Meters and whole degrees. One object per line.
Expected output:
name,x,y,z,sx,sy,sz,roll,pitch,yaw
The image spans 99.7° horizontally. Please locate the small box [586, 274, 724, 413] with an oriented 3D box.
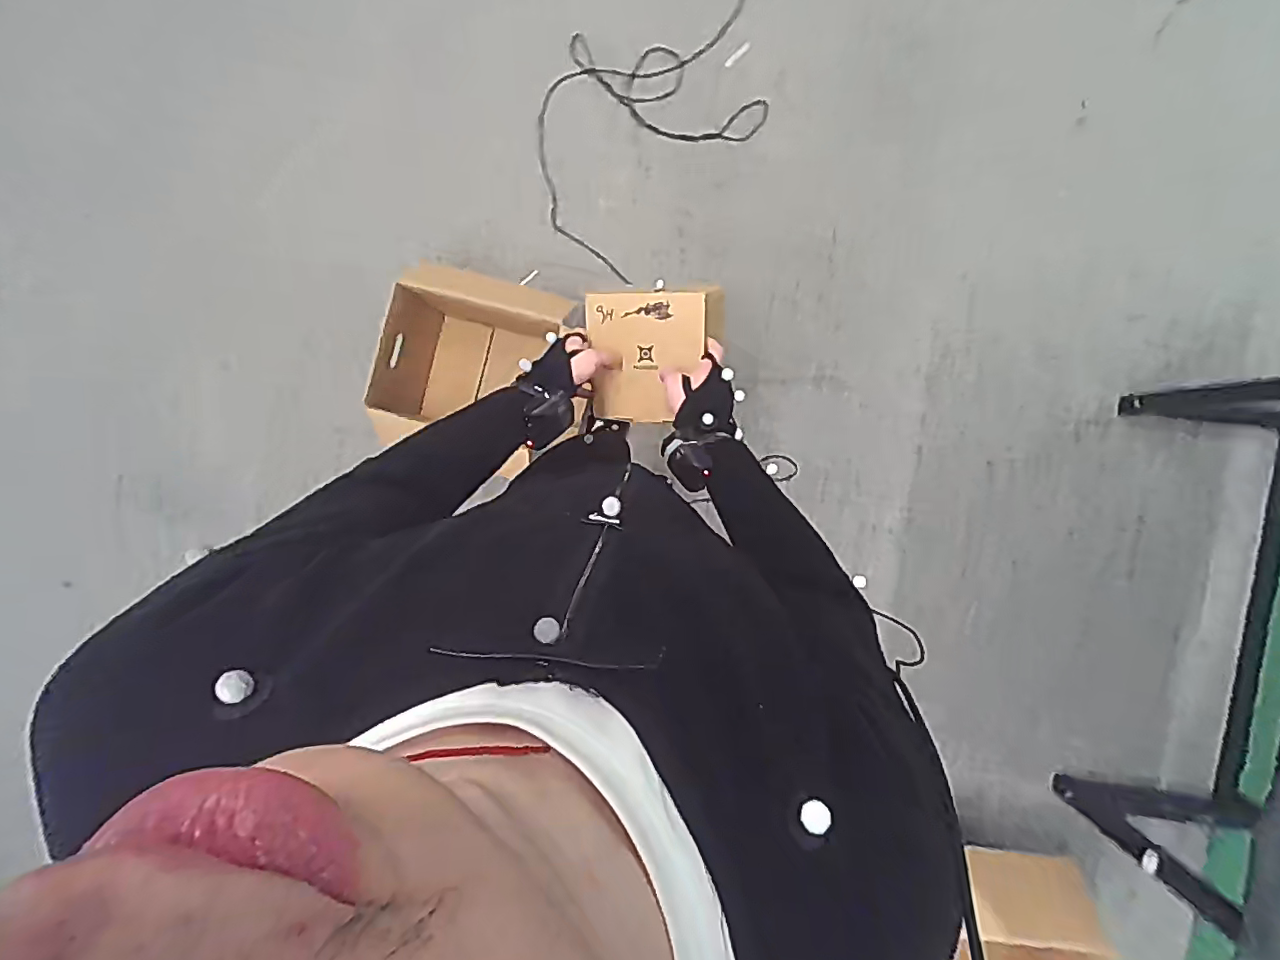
small box,0.032,-0.210,0.816,0.168,0.176,0.179,4,114,17
